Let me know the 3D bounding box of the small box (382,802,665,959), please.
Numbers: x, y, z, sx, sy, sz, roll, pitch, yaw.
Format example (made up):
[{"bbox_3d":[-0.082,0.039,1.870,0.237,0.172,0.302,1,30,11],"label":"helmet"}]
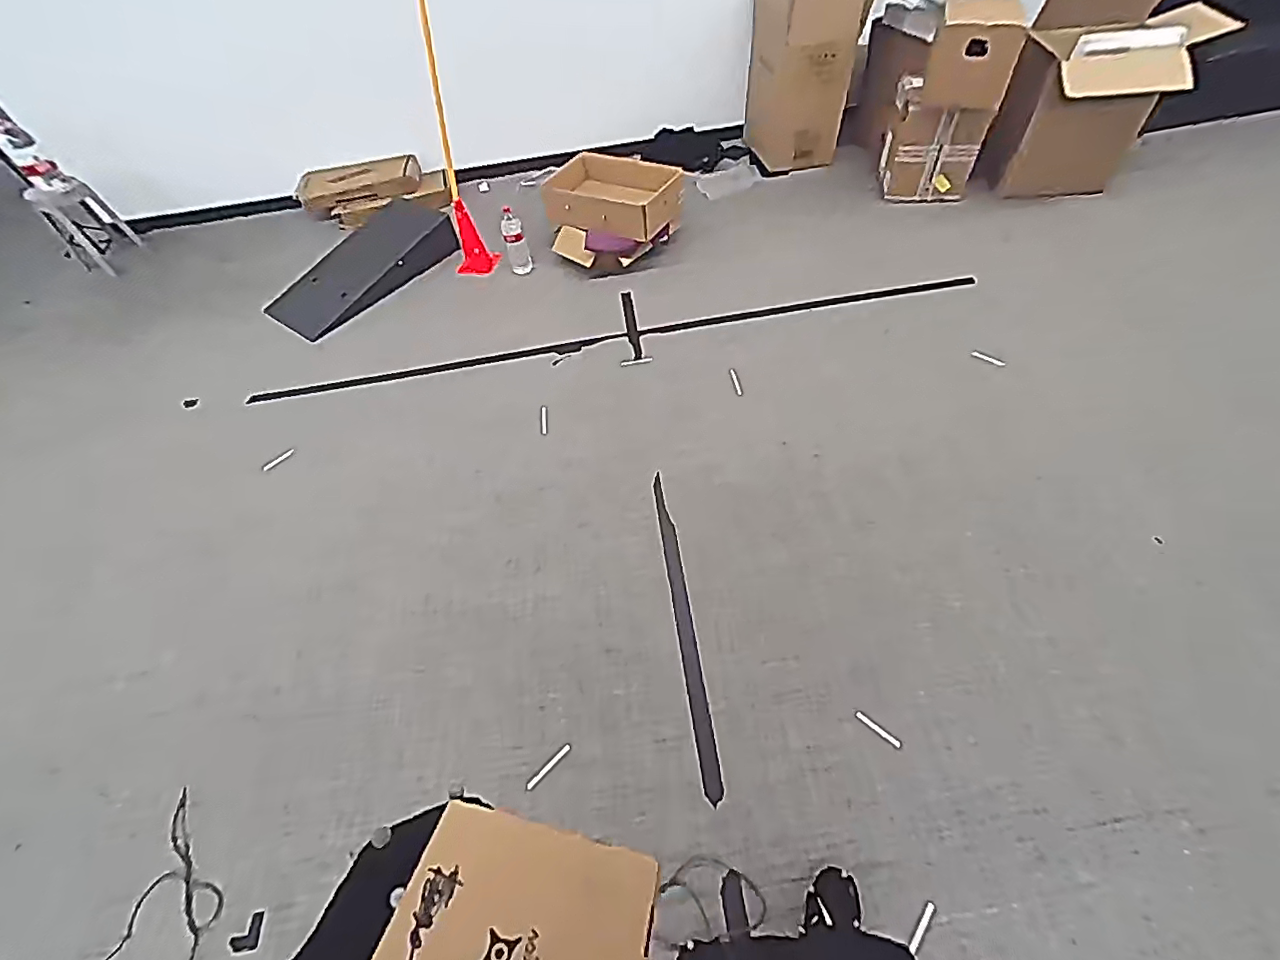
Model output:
[{"bbox_3d":[-0.091,0.387,0.407,0.179,0.176,0.168,12,34,7],"label":"small box"}]
